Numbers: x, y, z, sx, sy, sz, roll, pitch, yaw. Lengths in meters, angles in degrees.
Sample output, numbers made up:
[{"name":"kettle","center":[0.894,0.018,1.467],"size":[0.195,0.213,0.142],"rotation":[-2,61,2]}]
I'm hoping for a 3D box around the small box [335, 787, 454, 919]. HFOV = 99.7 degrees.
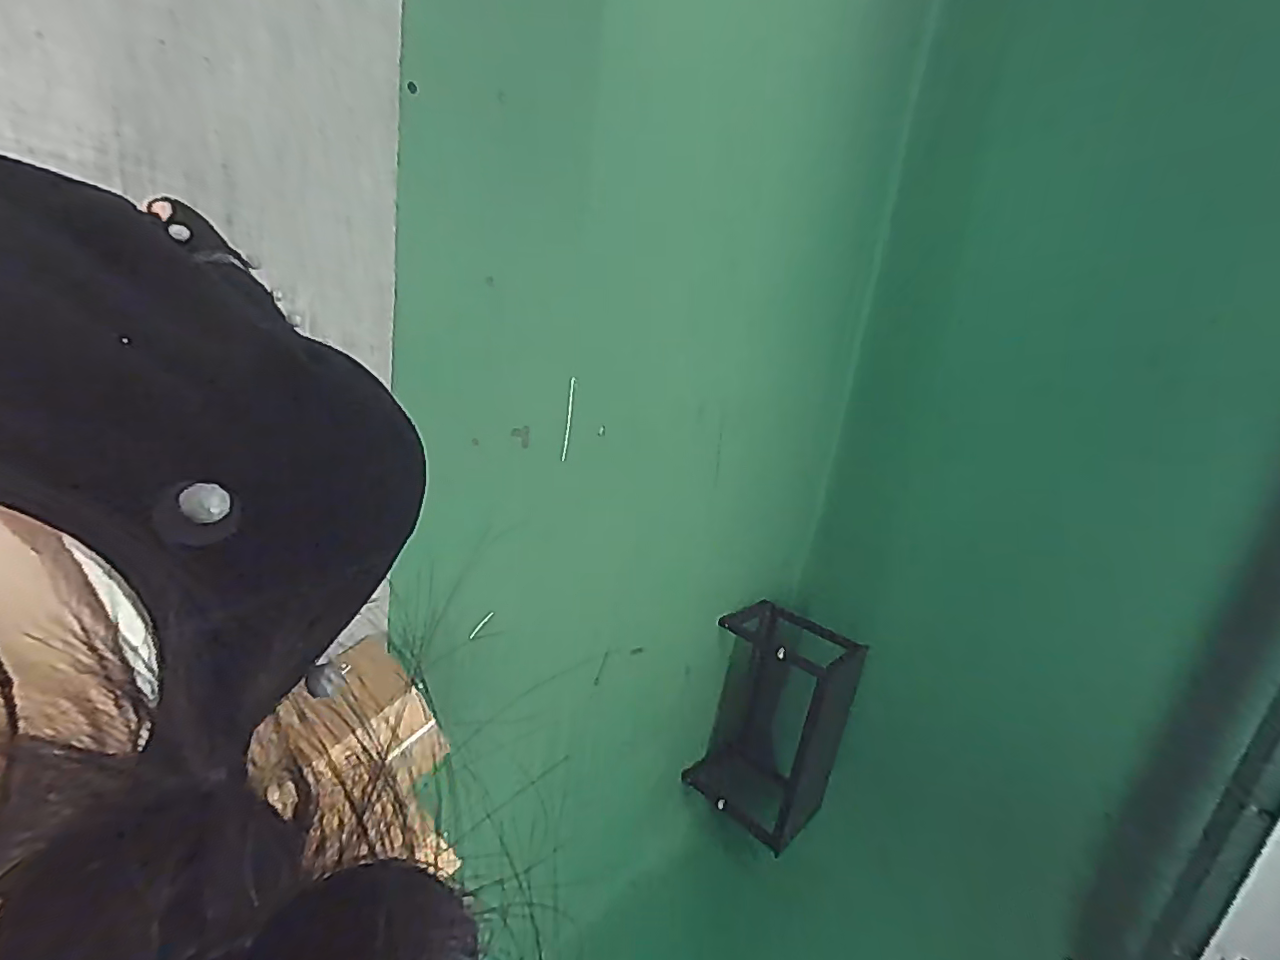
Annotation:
[{"name":"small box","center":[-0.581,0.875,1.283],"size":[0.168,0.176,0.179],"rotation":[-39,134,-32]}]
